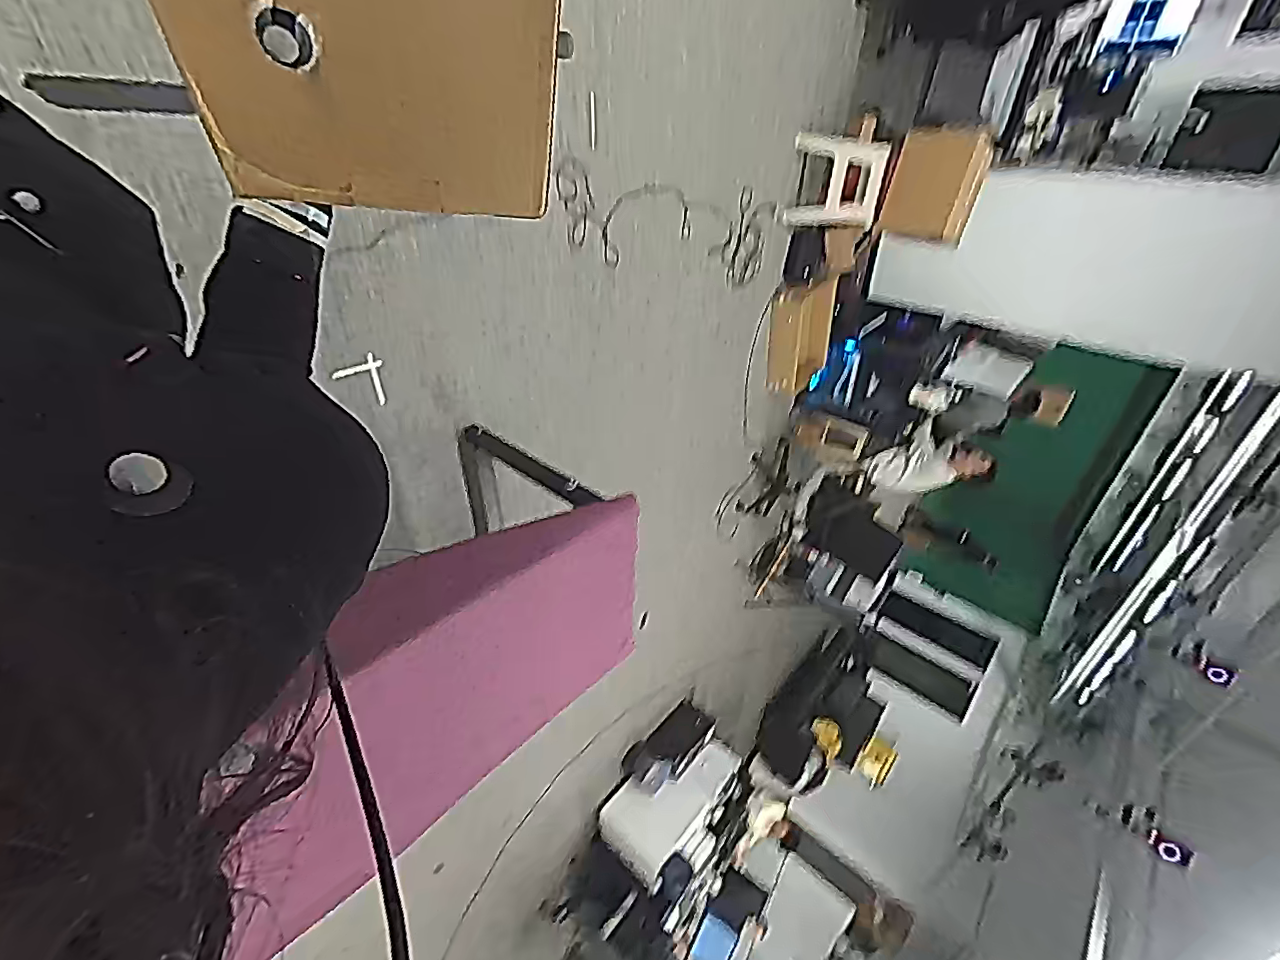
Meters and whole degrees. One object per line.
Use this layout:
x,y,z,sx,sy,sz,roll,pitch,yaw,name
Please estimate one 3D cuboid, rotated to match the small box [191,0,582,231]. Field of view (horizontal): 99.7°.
-0.125,-0.264,0.286,0.168,0.179,0.176,-2,146,-19,small box
